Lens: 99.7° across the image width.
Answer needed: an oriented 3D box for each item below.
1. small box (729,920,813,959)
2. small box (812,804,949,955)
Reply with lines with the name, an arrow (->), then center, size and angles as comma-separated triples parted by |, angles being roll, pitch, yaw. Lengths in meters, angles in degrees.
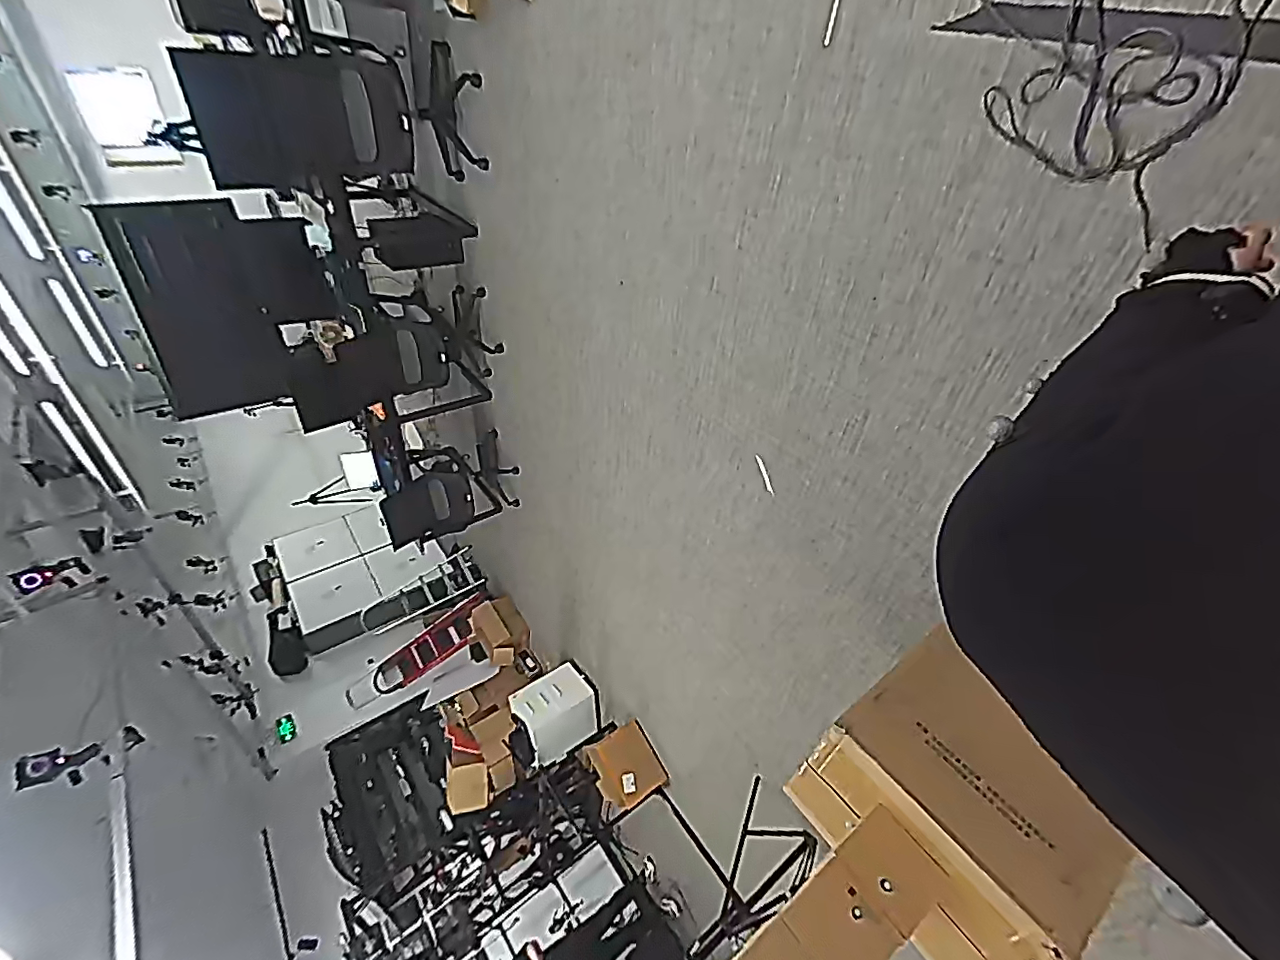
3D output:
small box -> 0.239, 0.944, 0.976 | 0.179, 0.176, 0.168 | 44, 142, 35
small box -> 0.504, 0.834, 1.138 | 0.179, 0.176, 0.168 | 45, 142, 35
